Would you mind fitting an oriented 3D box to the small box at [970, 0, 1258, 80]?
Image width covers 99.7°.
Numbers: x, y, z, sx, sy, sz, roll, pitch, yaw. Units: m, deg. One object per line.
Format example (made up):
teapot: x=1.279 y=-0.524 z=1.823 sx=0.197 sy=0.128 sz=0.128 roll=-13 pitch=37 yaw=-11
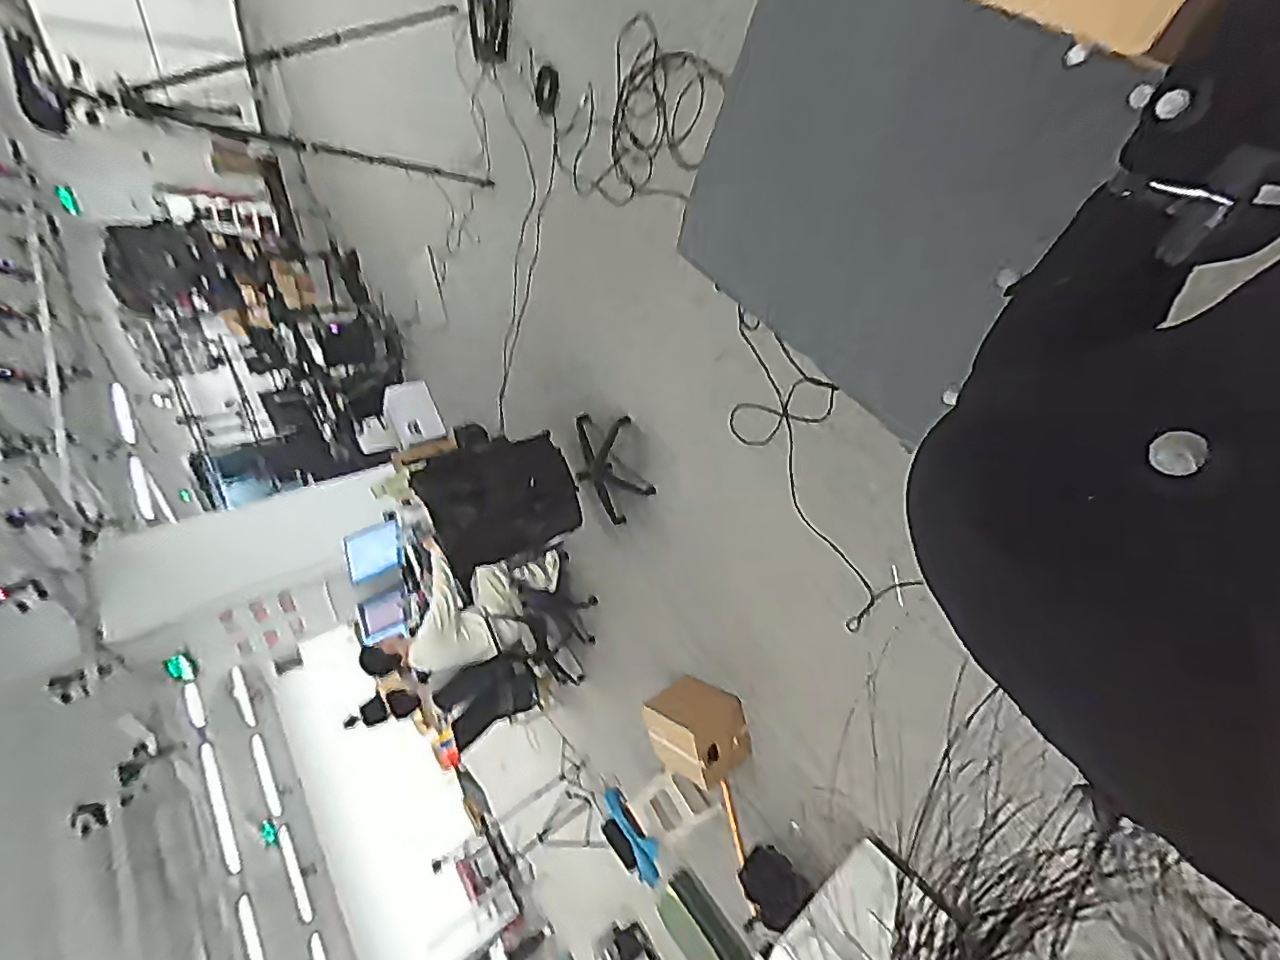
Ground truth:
small box: x=0.414 y=-0.451 z=0.425 sx=0.168 sy=0.176 sz=0.179 roll=51 pitch=144 yaw=27
